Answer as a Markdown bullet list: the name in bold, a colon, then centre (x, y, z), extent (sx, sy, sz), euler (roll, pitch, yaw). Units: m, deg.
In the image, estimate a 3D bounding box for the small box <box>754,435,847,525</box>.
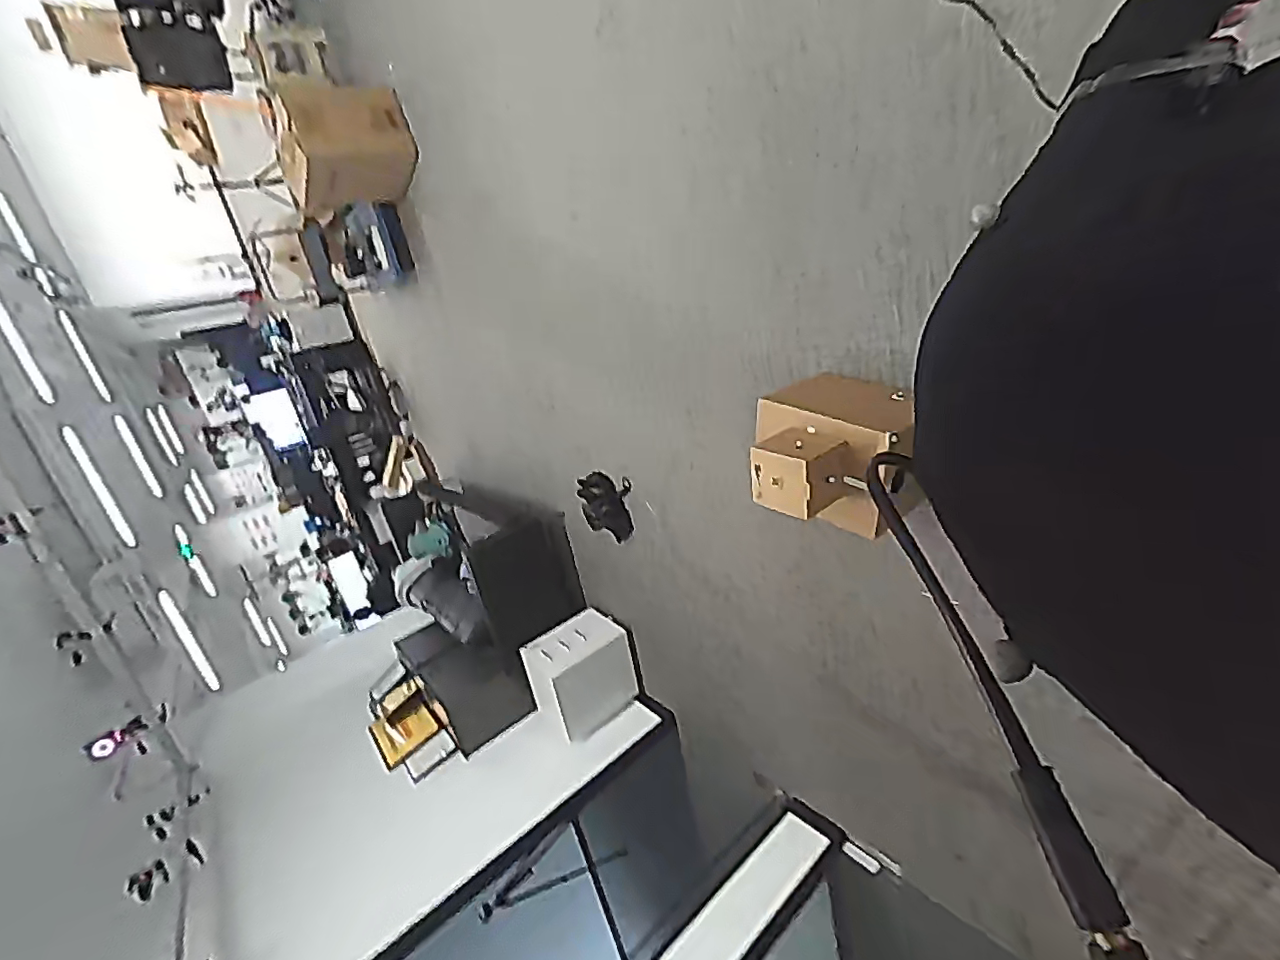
- **small box**: centre (0.424, -0.009, 1.423), extent (0.179, 0.176, 0.168), euler (20, 126, 47)
